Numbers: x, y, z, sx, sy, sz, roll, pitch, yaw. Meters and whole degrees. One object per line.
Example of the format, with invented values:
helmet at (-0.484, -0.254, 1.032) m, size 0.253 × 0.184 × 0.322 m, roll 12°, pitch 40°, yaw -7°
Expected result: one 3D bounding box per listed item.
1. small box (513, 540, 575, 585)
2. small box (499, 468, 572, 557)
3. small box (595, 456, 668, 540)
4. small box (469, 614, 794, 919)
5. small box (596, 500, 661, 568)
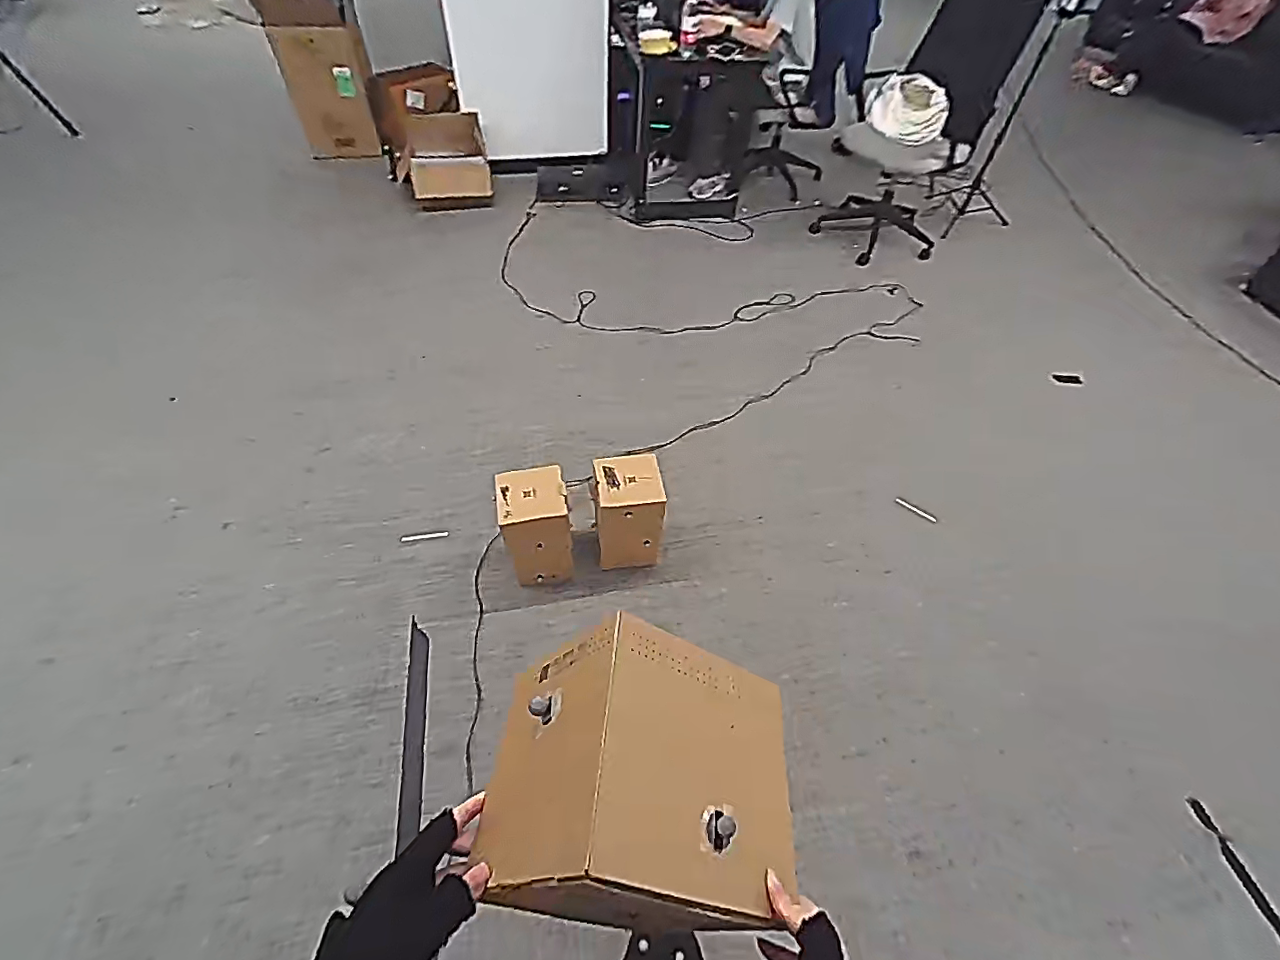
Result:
small box at (-0.284, 0.187, 1.586) m, size 0.168 × 0.176 × 0.179 m, roll -7°, pitch 53°, yaw -8°
small box at (-0.277, 0.089, 1.454) m, size 0.179 × 0.176 × 0.168 m, roll -7°, pitch 52°, yaw -9°
small box at (-0.030, 0.054, 1.498) m, size 0.179 × 0.176 × 0.168 m, roll -4°, pitch 52°, yaw -9°
small box at (-0.002, 0.233, 0.436) m, size 0.179 × 0.168 × 0.176 m, roll 32°, pitch 40°, yaw -23°
small box at (-0.039, 0.154, 1.629) m, size 0.179 × 0.176 × 0.168 m, roll -5°, pitch 52°, yaw -8°
